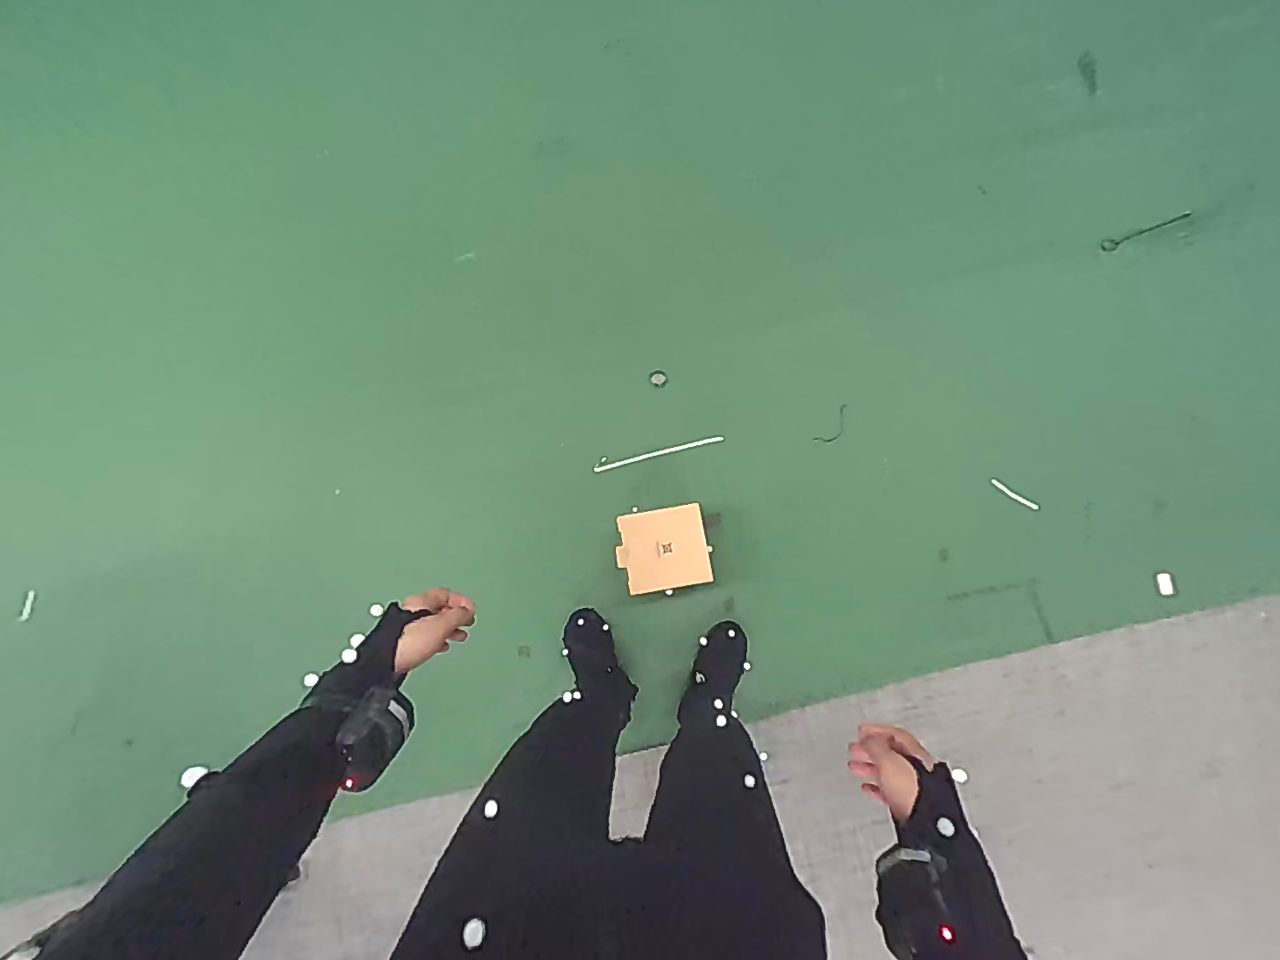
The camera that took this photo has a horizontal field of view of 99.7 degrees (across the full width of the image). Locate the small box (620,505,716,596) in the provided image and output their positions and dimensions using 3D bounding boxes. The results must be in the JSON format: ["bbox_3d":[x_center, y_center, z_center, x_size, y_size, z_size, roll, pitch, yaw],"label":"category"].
[{"bbox_3d":[0.060,0.148,1.186,0.179,0.176,0.168,-11,86,2],"label":"small box"}]
